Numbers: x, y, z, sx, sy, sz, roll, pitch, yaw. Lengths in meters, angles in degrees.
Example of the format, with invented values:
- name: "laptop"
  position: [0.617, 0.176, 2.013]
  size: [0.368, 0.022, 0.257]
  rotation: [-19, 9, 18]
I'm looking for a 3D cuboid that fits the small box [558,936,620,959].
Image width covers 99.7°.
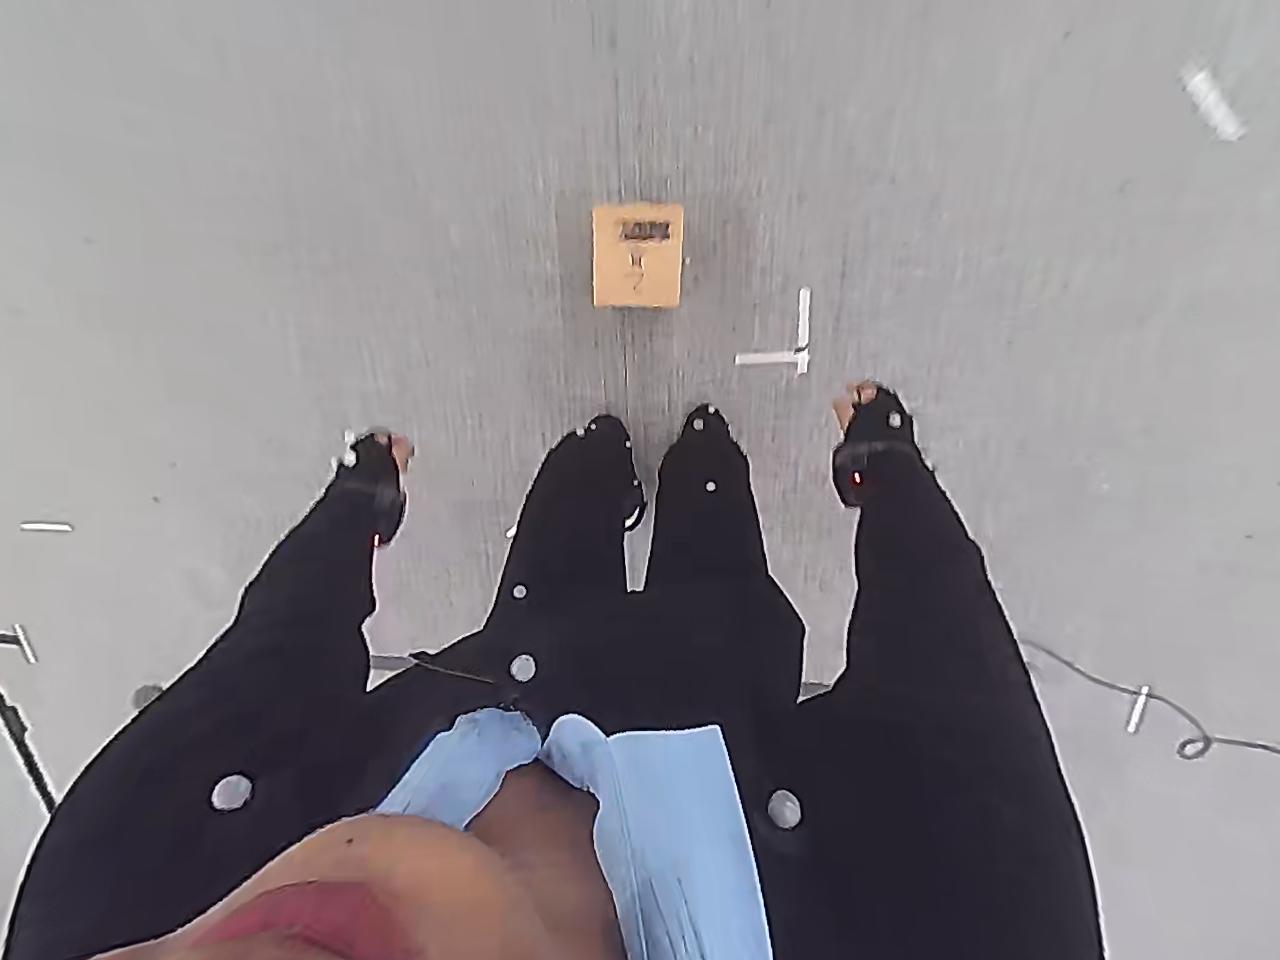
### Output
- name: "small box"
  position: [-0.143, 1.402, 1.478]
  size: [0.168, 0.176, 0.179]
  rotation: [-1, 108, 6]

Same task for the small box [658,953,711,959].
- name: "small box"
  position: [0.128, 1.436, 1.462]
  size: [0.168, 0.176, 0.179]
  rotation: [-2, 107, 5]
